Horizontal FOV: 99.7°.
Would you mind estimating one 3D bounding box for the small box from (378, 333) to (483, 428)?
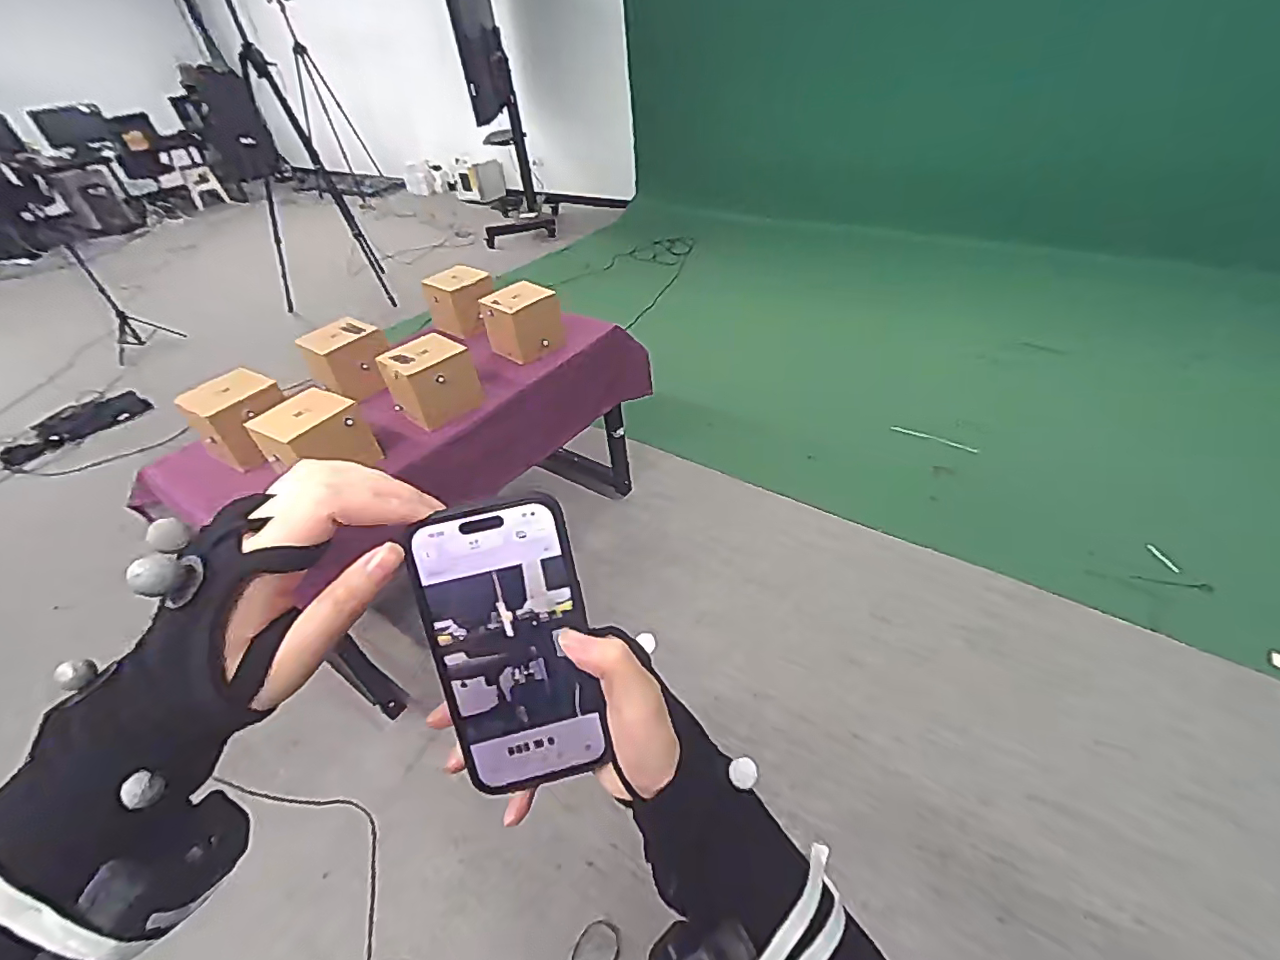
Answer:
[{"bbox_3d":[-0.543,-0.260,1.423,0.168,0.176,0.179,28,51,33],"label":"small box"}]

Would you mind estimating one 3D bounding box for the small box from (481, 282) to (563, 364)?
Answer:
[{"bbox_3d":[-0.352,-0.481,1.652,0.168,0.176,0.179,29,52,34],"label":"small box"}]

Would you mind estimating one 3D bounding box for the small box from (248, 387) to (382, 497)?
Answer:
[{"bbox_3d":[-0.740,-0.088,1.250,0.168,0.176,0.179,18,45,25],"label":"small box"}]

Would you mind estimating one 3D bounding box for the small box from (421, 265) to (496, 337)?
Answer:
[{"bbox_3d":[-0.594,-0.598,1.813,0.179,0.176,0.168,27,51,31],"label":"small box"}]
